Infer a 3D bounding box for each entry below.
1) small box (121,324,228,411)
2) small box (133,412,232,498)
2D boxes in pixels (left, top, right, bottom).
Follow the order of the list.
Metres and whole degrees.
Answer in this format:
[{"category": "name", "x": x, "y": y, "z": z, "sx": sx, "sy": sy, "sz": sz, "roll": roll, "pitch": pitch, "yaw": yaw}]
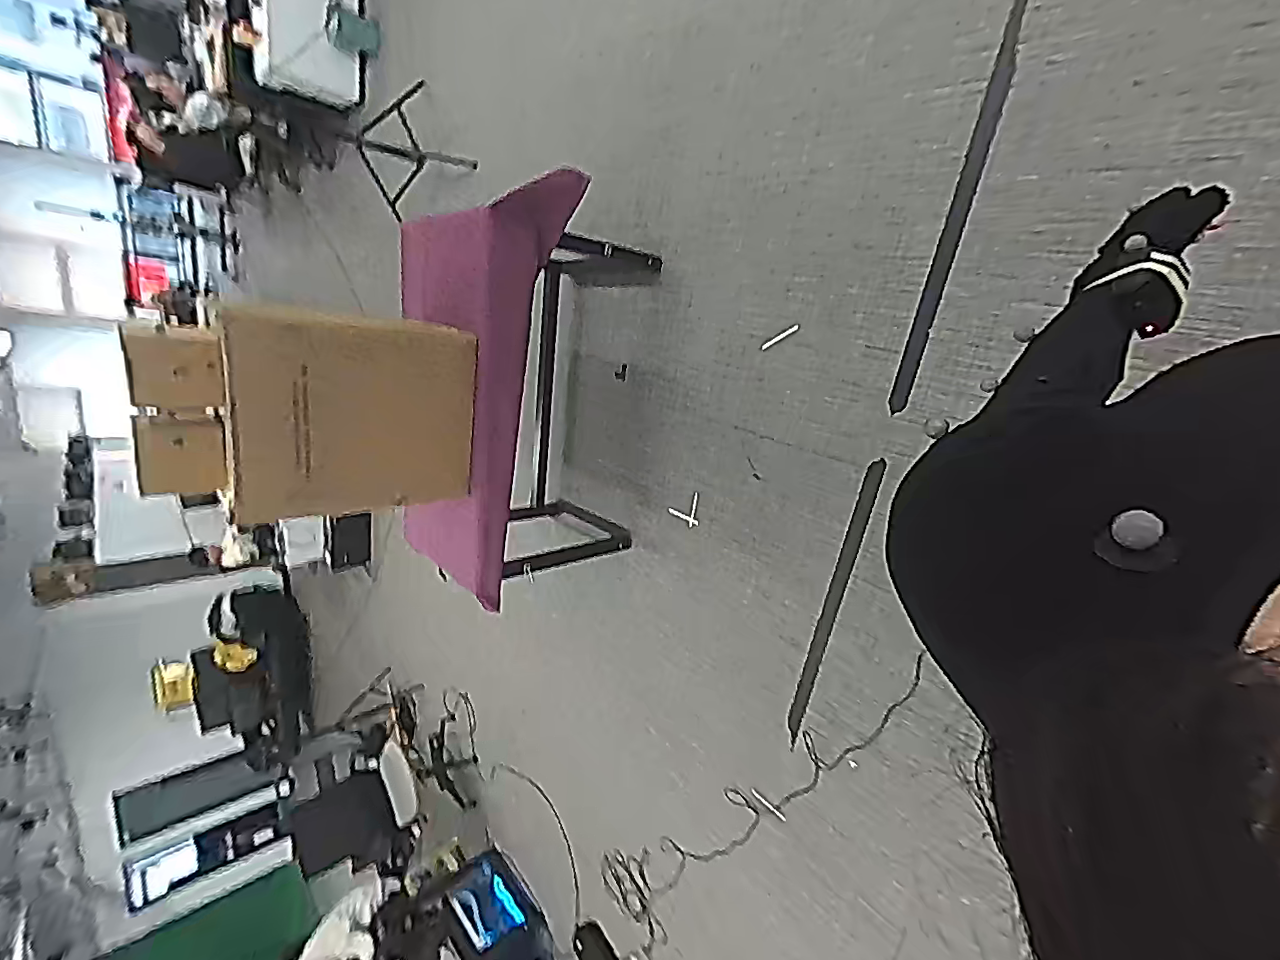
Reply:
[{"category": "small box", "x": -1.077, "y": -0.264, "z": 1.260, "sx": 0.179, "sy": 0.176, "sz": 0.168, "roll": 26, "pitch": 115, "yaw": 42}, {"category": "small box", "x": -1.144, "y": -0.070, "z": 1.355, "sx": 0.168, "sy": 0.176, "sz": 0.179, "roll": 23, "pitch": 112, "yaw": 43}]
